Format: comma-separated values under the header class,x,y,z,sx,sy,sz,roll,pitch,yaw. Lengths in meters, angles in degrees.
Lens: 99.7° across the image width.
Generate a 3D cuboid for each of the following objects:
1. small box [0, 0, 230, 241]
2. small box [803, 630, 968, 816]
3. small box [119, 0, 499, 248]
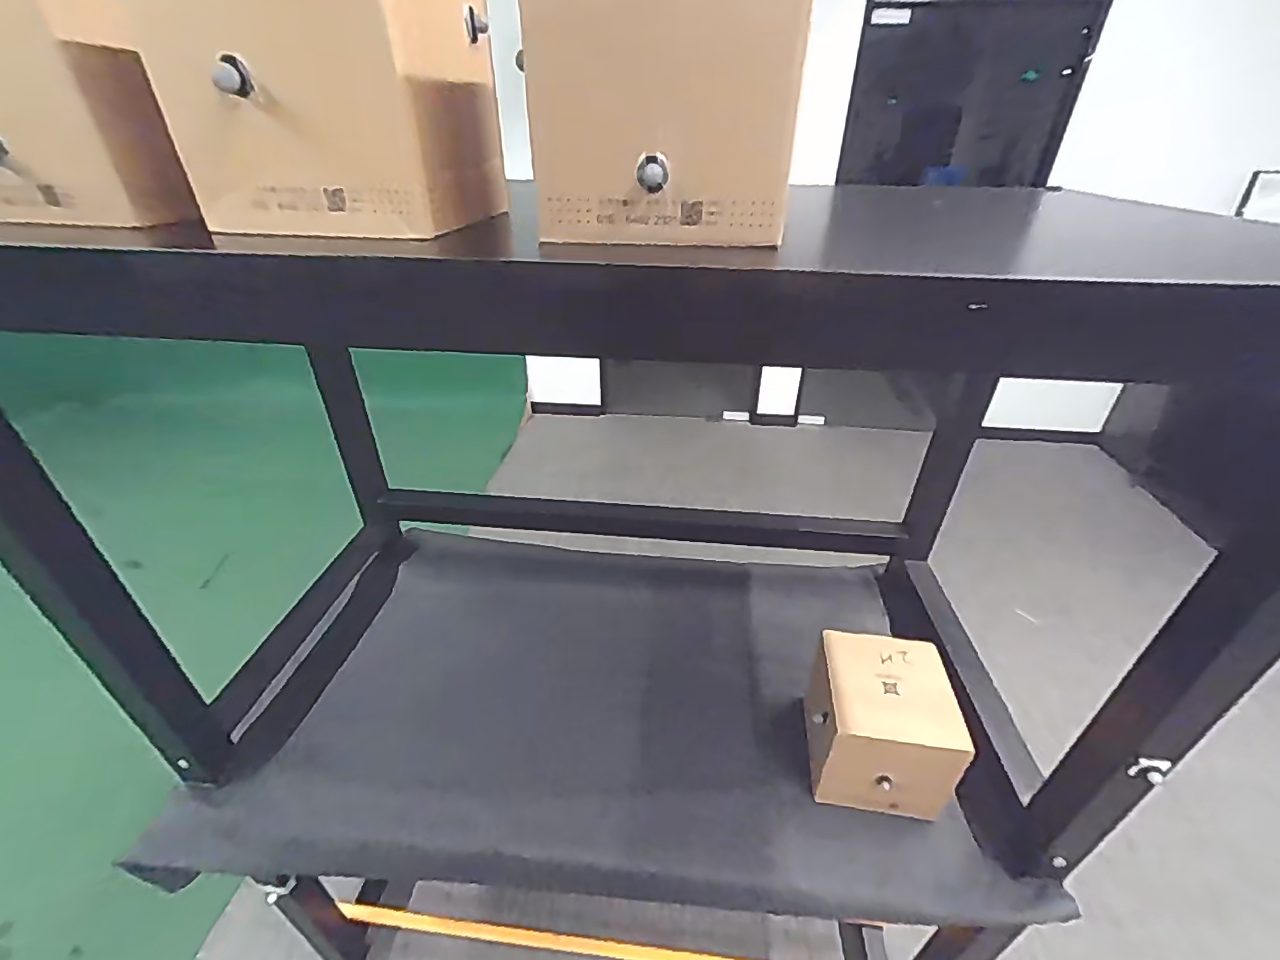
class,x,y,z,sx,sy,sz,roll,pitch,yaw
small box,-0.442,-0.304,0.445,0.168,0.176,0.179,4,33,5
small box,0.338,0.350,0.784,0.168,0.176,0.179,6,32,8
small box,-0.220,-0.280,0.415,0.168,0.176,0.179,4,32,6
